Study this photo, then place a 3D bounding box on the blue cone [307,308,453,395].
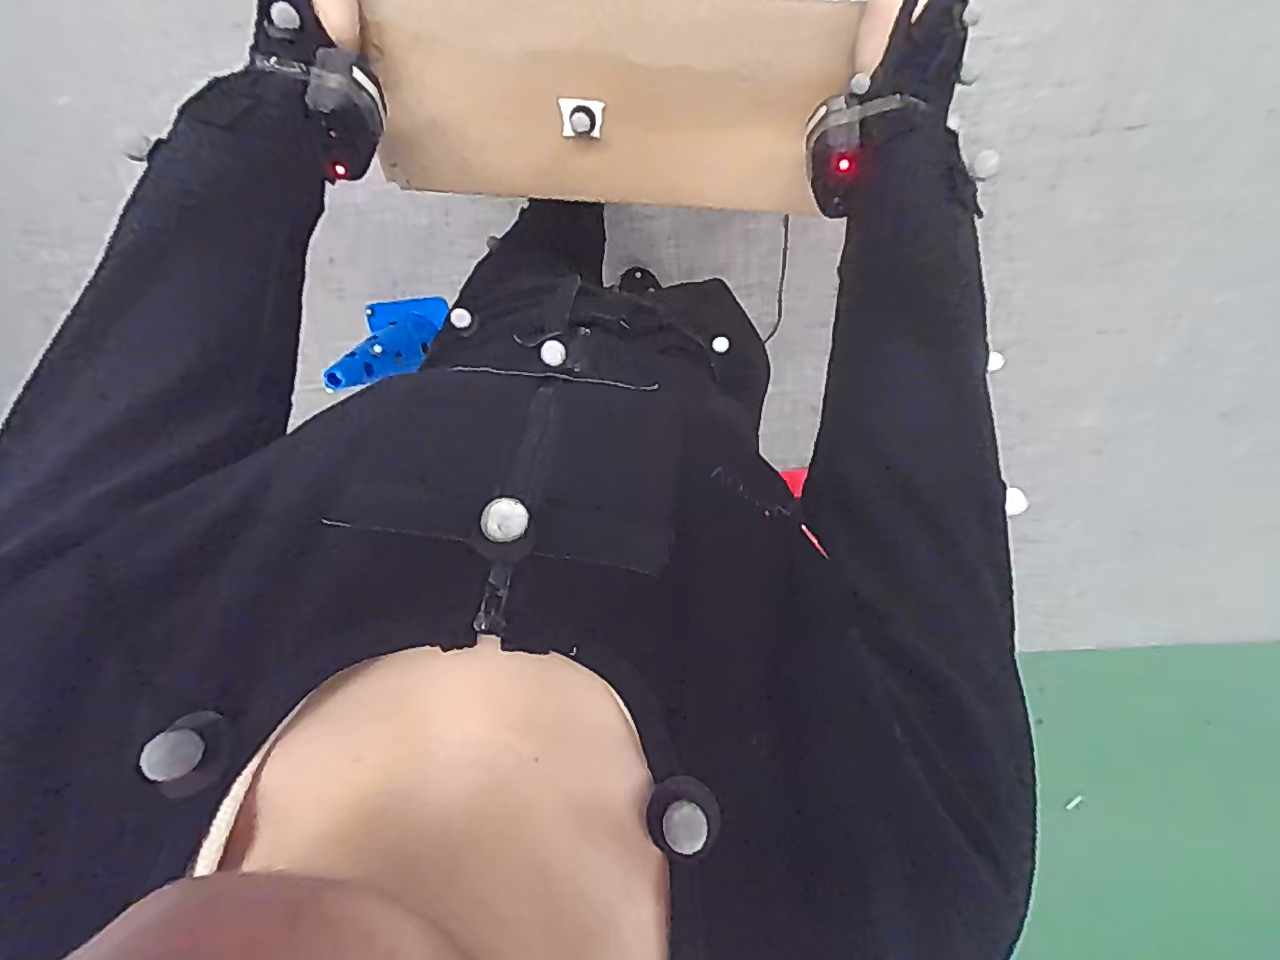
[{"bbox_3d":[-0.554,-0.241,1.127,0.192,0.380,0.193,-3,113,5],"label":"blue cone"}]
